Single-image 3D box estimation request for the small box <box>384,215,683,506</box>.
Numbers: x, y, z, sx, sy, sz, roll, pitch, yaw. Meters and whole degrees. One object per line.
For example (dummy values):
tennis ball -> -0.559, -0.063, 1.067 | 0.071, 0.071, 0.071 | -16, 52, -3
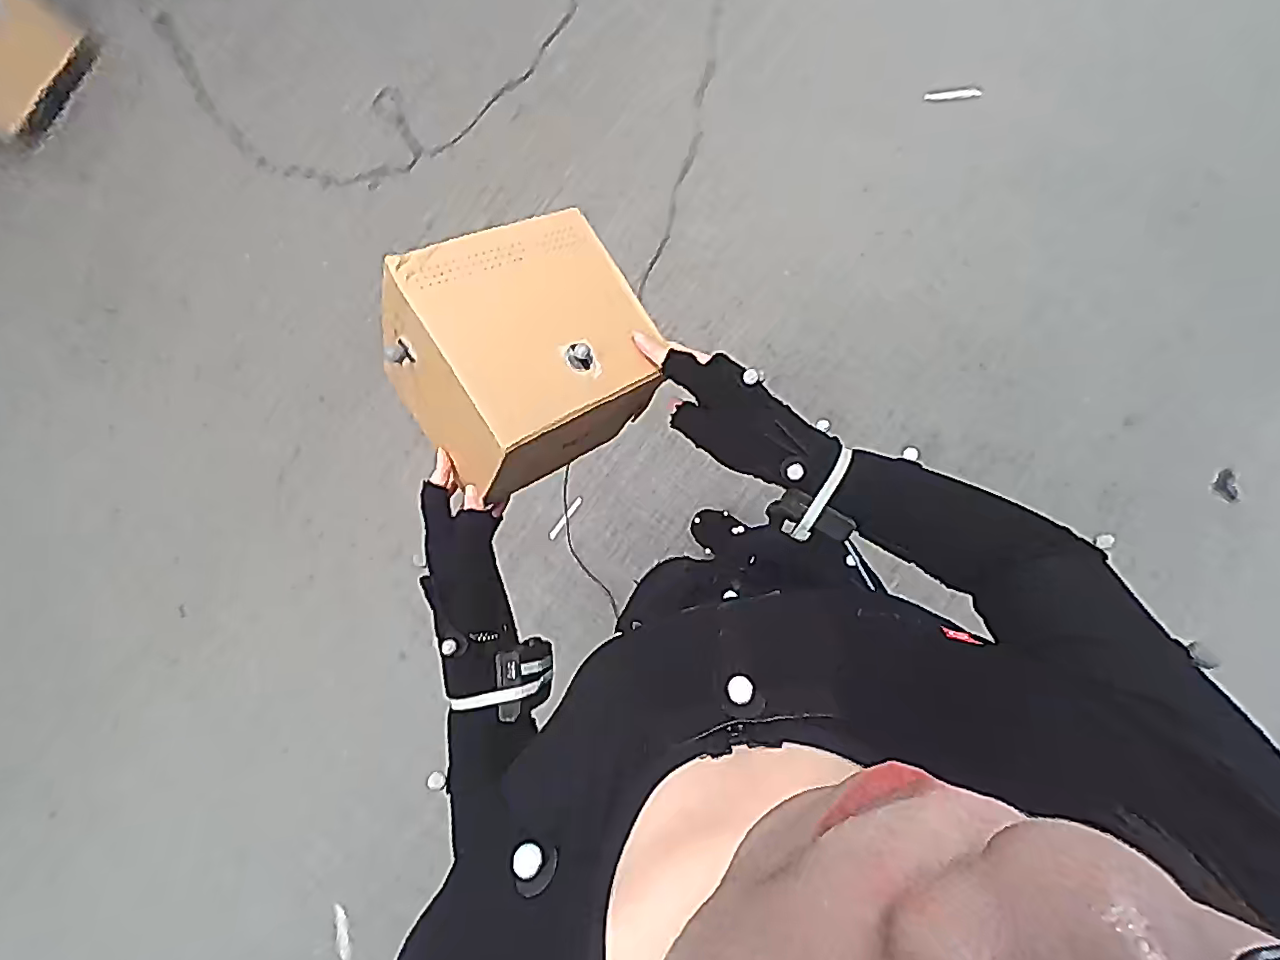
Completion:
small box -> -0.101, -0.106, 0.484 | 0.179, 0.168, 0.176 | -31, 87, -30
